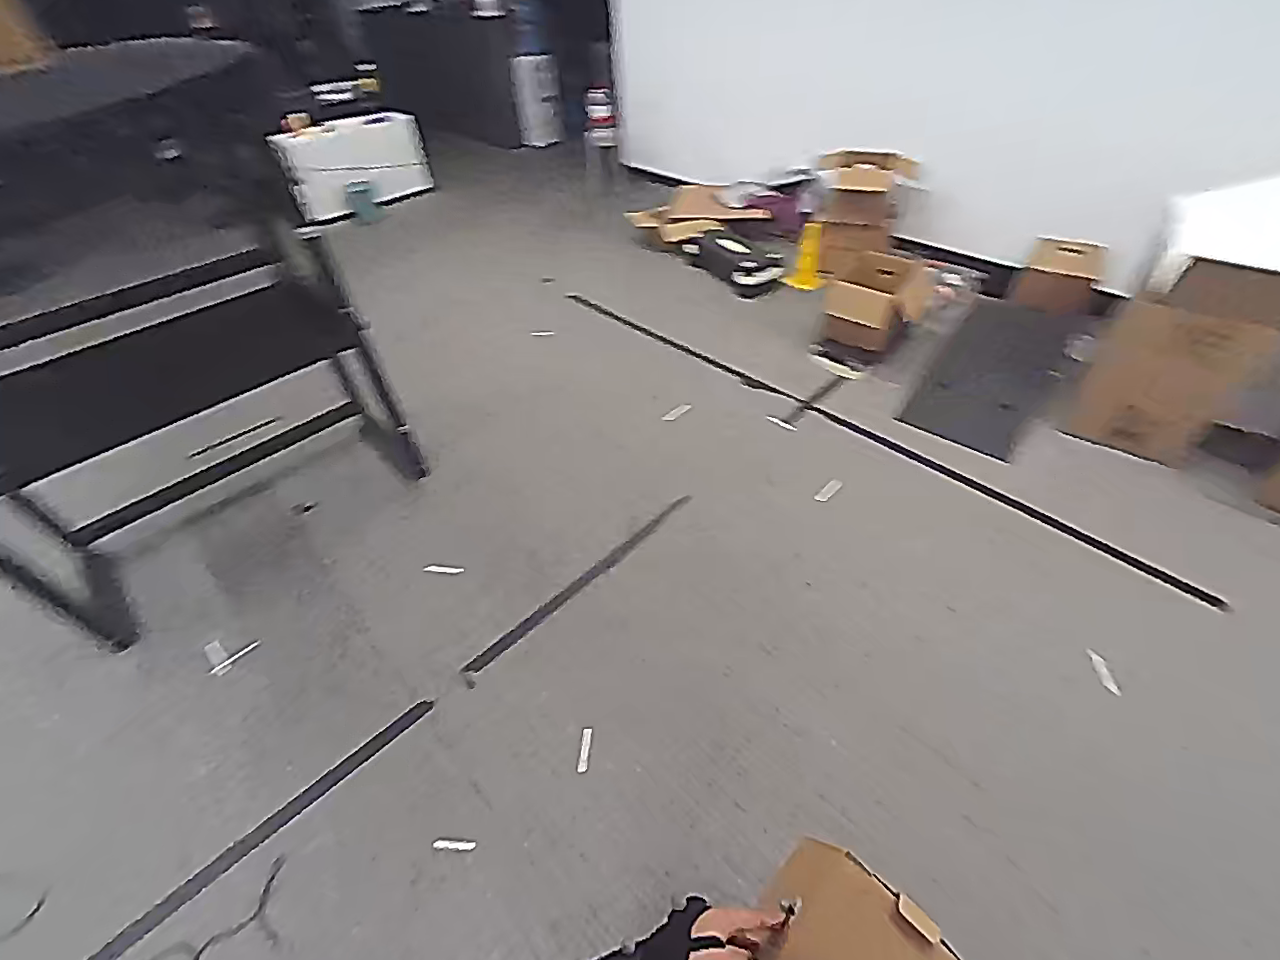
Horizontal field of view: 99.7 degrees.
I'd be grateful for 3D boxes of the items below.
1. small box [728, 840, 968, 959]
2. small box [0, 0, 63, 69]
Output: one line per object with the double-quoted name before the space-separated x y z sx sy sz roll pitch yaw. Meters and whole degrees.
"small box" 0.210 0.513 0.561 0.168 0.176 0.179 39 67 19
"small box" -1.545 -1.092 1.287 0.168 0.176 0.179 -37 54 -28
